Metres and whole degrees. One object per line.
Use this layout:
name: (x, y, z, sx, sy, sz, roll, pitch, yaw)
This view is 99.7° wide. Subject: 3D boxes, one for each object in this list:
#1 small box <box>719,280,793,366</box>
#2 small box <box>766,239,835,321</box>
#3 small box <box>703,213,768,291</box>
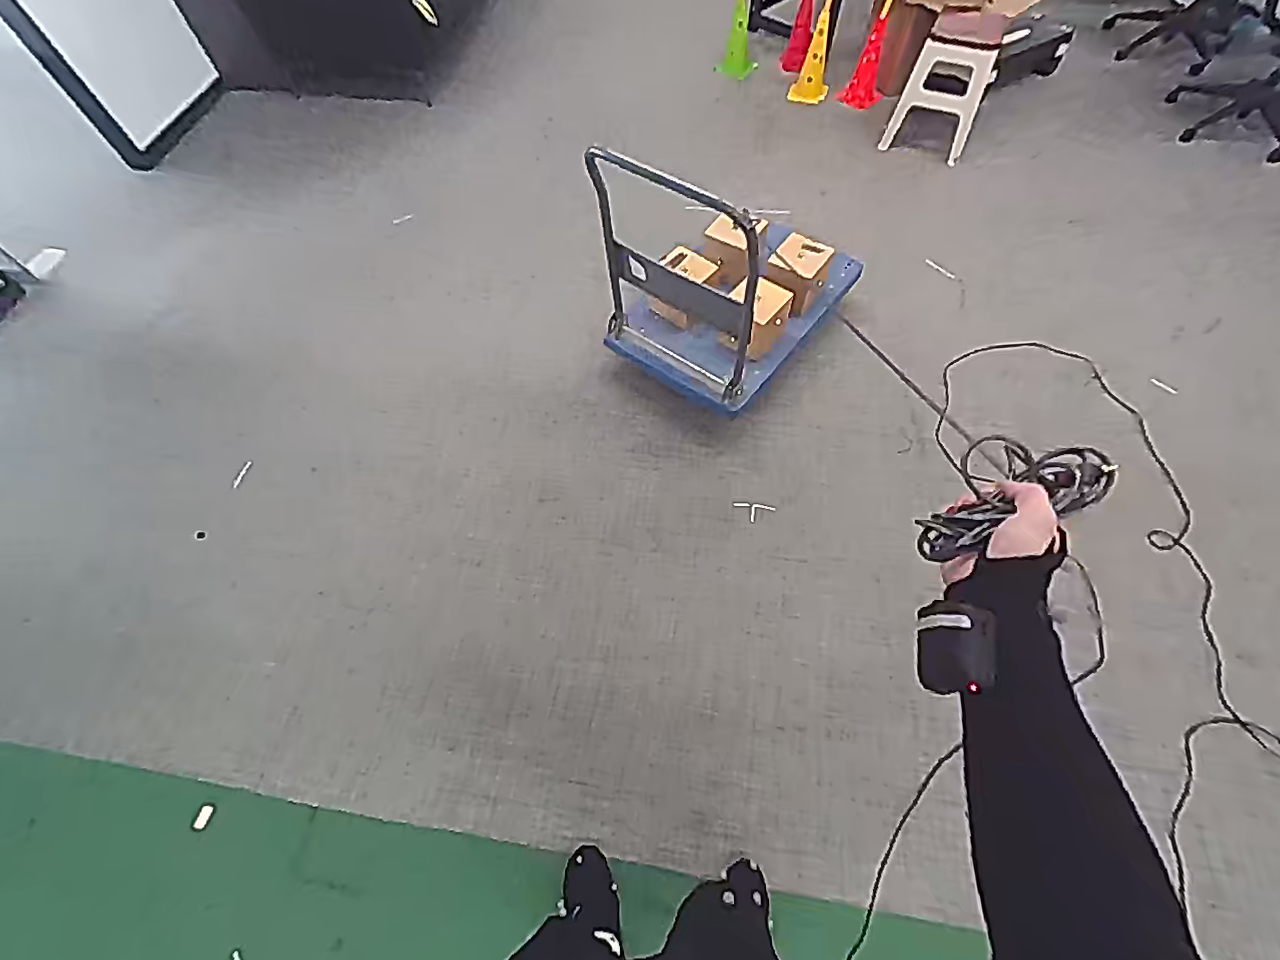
small box: (0.376, -0.517, 1.790, 0.168, 0.176, 0.179, 36, 69, 20)
small box: (0.545, -0.691, 1.878, 0.168, 0.176, 0.179, 33, 68, 20)
small box: (0.342, -0.823, 1.963, 0.168, 0.176, 0.179, 31, 67, 18)
